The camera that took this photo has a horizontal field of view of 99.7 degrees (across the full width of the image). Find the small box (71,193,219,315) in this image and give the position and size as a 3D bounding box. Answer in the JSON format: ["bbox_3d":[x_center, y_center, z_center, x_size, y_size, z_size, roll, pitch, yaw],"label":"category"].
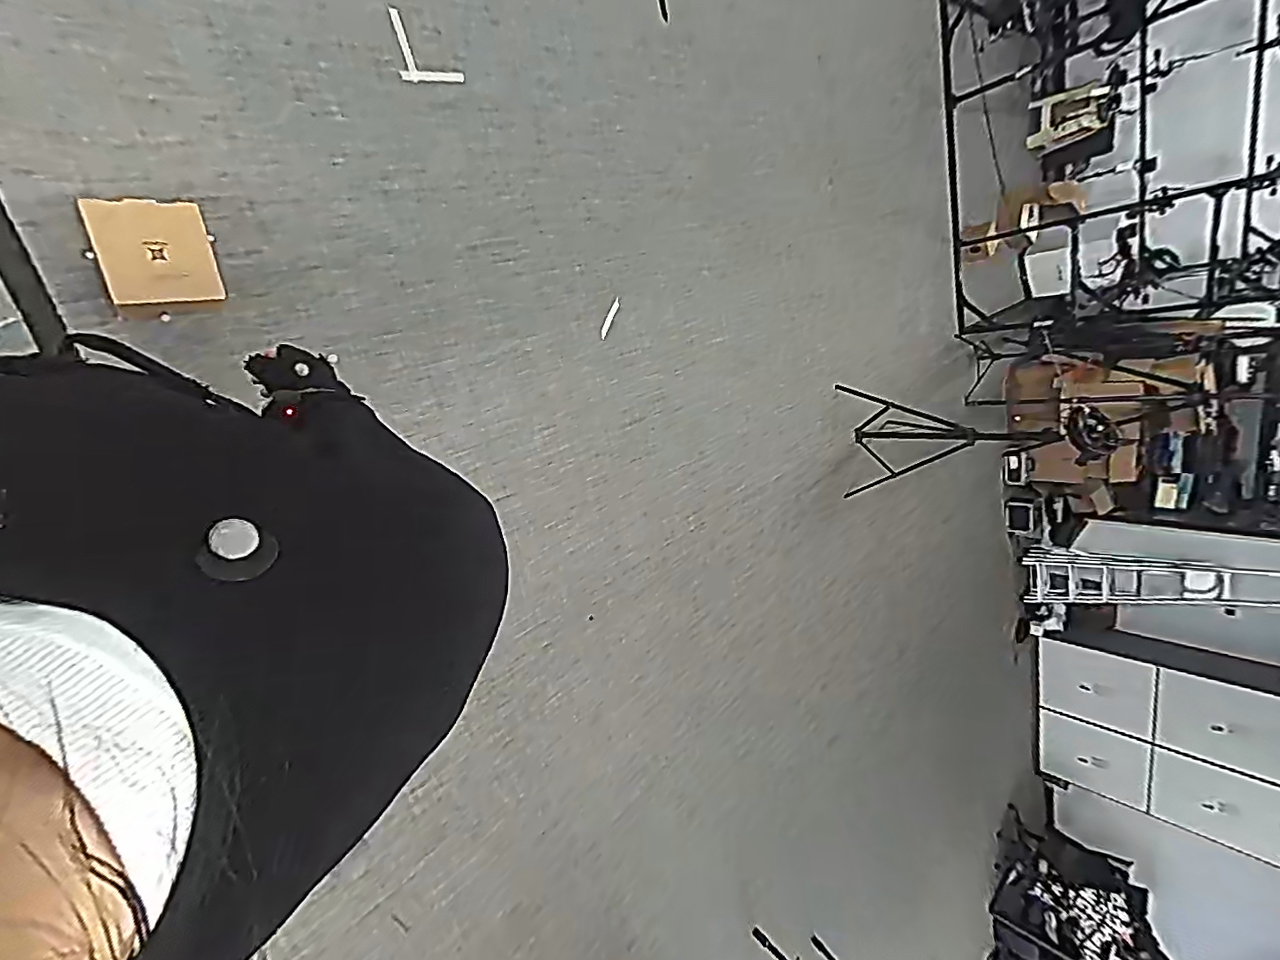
[{"bbox_3d":[-0.937,-0.423,1.033,0.168,0.176,0.179,-19,107,-38],"label":"small box"}]
